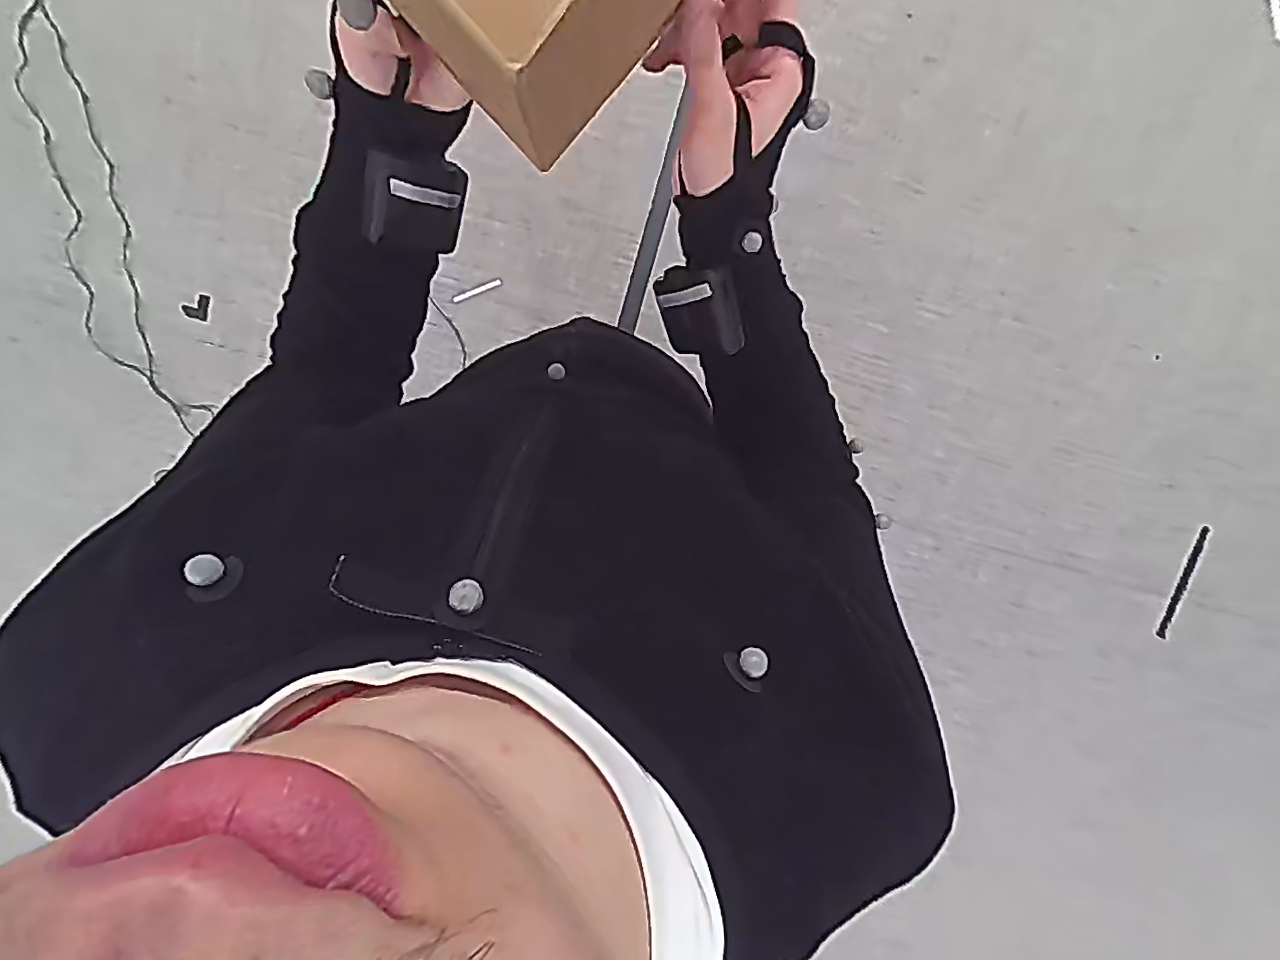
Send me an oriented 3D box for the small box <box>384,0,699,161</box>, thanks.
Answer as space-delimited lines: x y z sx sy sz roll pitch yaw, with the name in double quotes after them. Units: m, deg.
-0.039 -0.254 0.189 0.168 0.176 0.179 41 102 -19 "small box"
